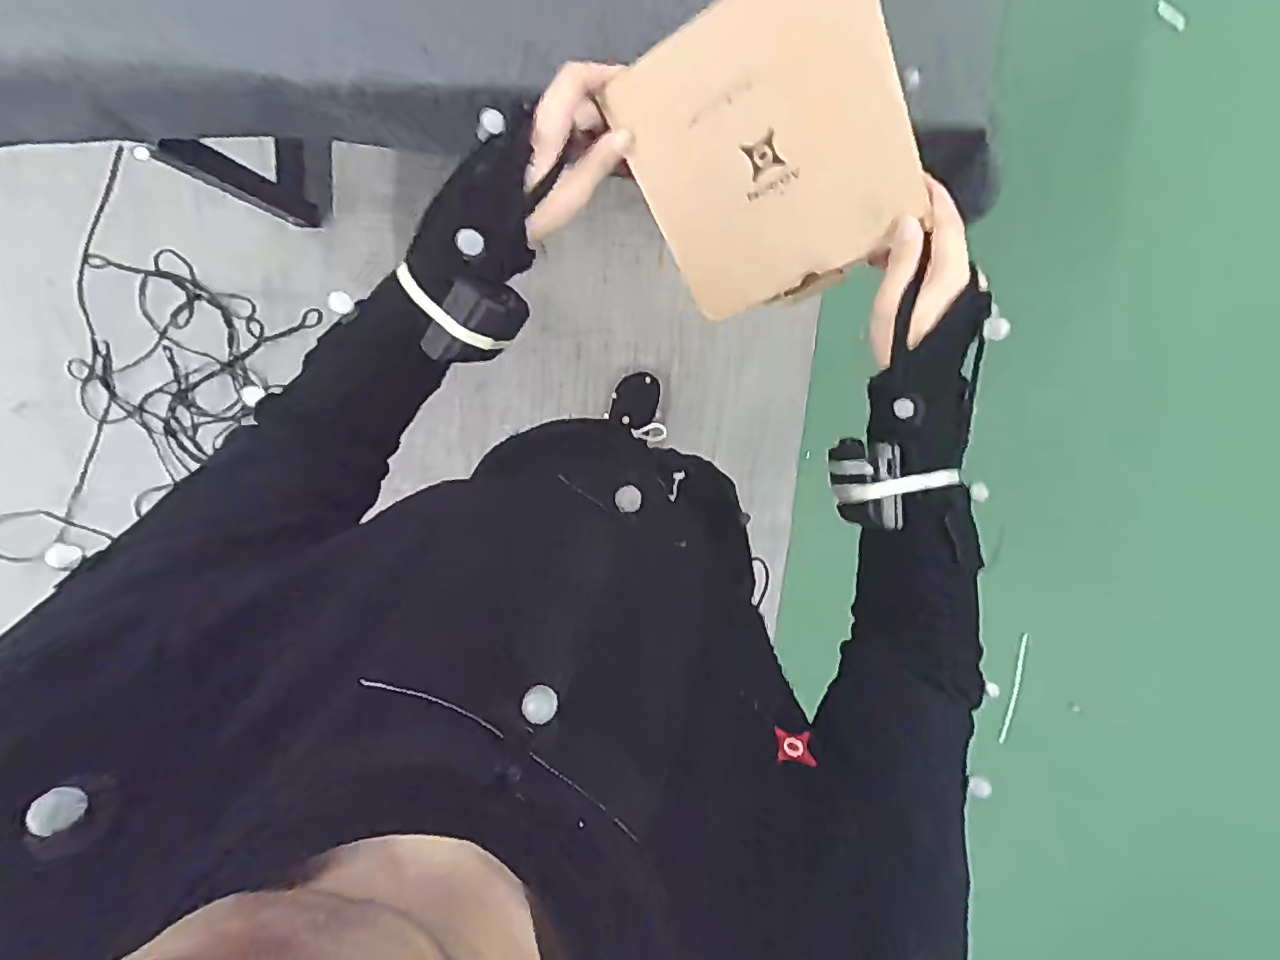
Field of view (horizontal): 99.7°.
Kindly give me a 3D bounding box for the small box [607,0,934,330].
[{"bbox_3d":[0.106,-0.252,0.416,0.168,0.176,0.179,-19,119,28],"label":"small box"}]
